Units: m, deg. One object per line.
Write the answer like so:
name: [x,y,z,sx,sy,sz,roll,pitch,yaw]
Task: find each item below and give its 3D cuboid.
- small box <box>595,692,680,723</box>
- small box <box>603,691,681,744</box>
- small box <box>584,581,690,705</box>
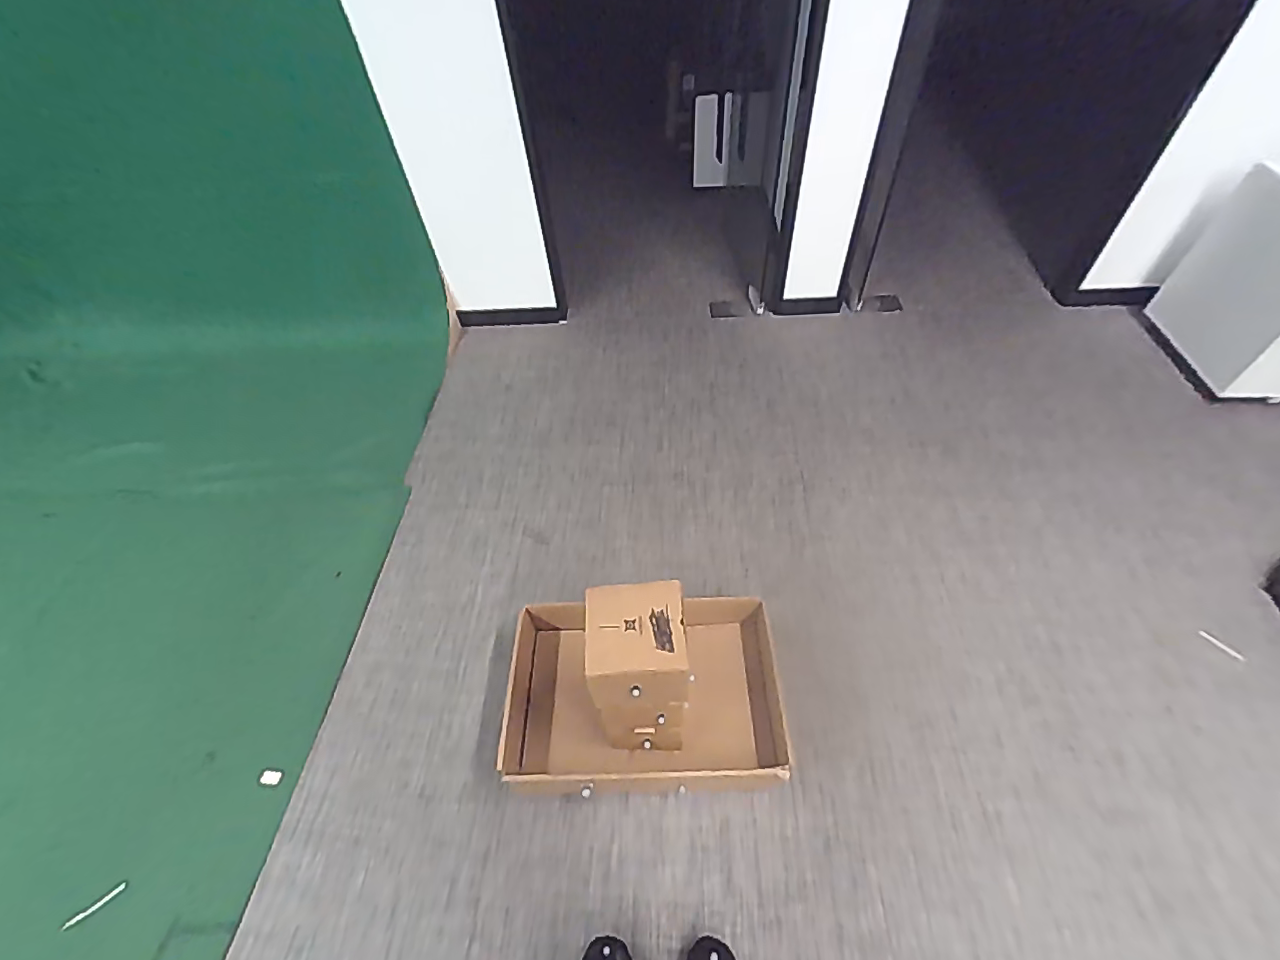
small box: [0.001,0.402,1.140,0.168,0.176,0.179,-1,50,3]
small box: [0.011,0.506,1.264,0.168,0.176,0.179,0,51,4]
small box: [-0.007,0.305,1.007,0.179,0.176,0.168,-6,51,-2]
